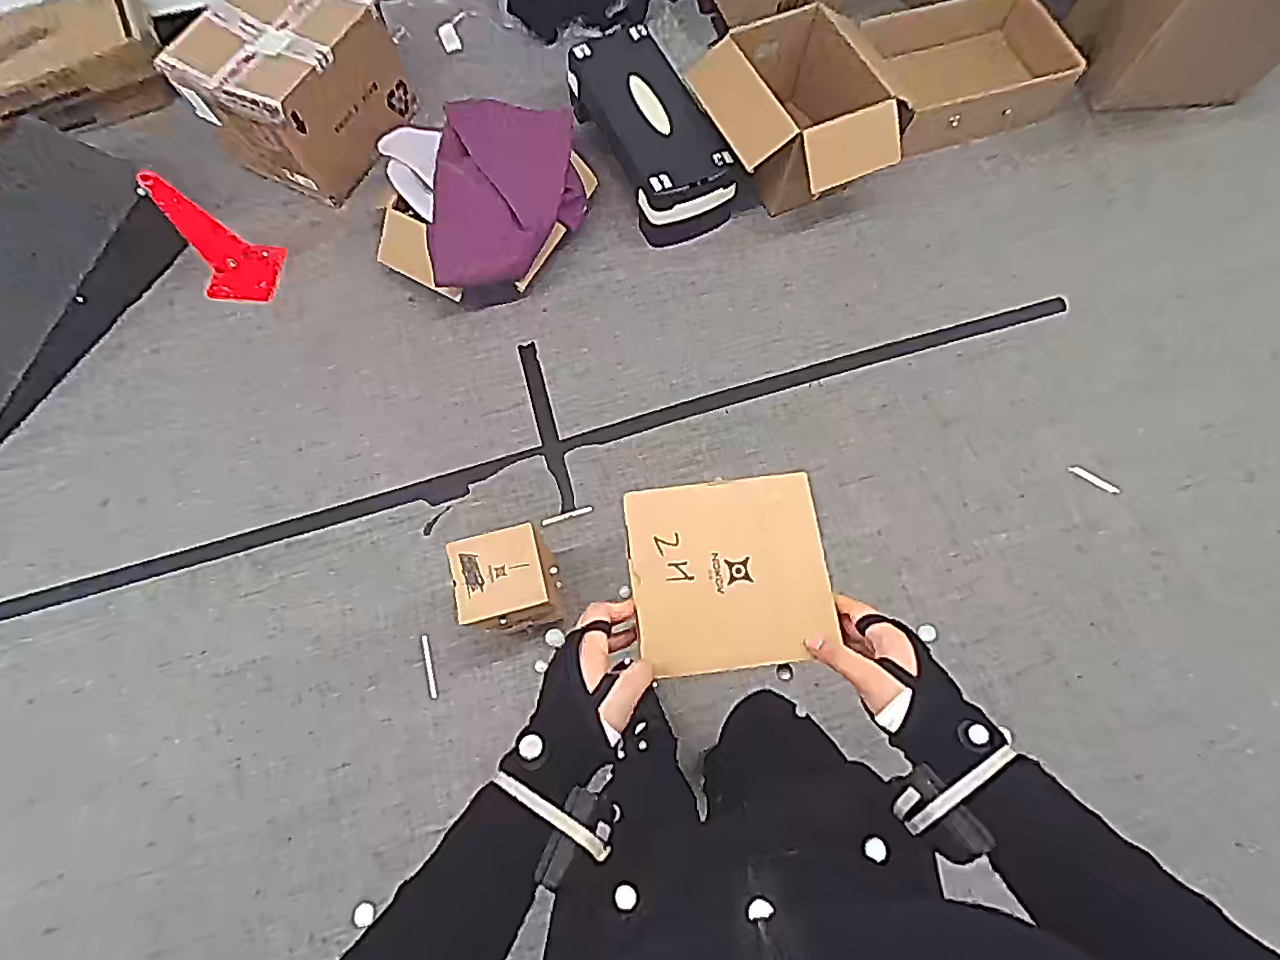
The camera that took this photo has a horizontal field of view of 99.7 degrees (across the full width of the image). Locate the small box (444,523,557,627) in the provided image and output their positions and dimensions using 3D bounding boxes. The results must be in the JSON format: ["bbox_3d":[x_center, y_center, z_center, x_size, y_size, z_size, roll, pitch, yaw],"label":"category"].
[{"bbox_3d":[-0.284,0.204,1.125,0.179,0.176,0.168,-14,73,-5],"label":"small box"}]

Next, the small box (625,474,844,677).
[{"bbox_3d":[0.079,0.100,0.549,0.179,0.176,0.168,-6,74,-1],"label":"small box"}]

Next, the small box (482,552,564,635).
[{"bbox_3d":[-0.285,0.259,1.281,0.168,0.176,0.179,-14,74,-4],"label":"small box"}]
